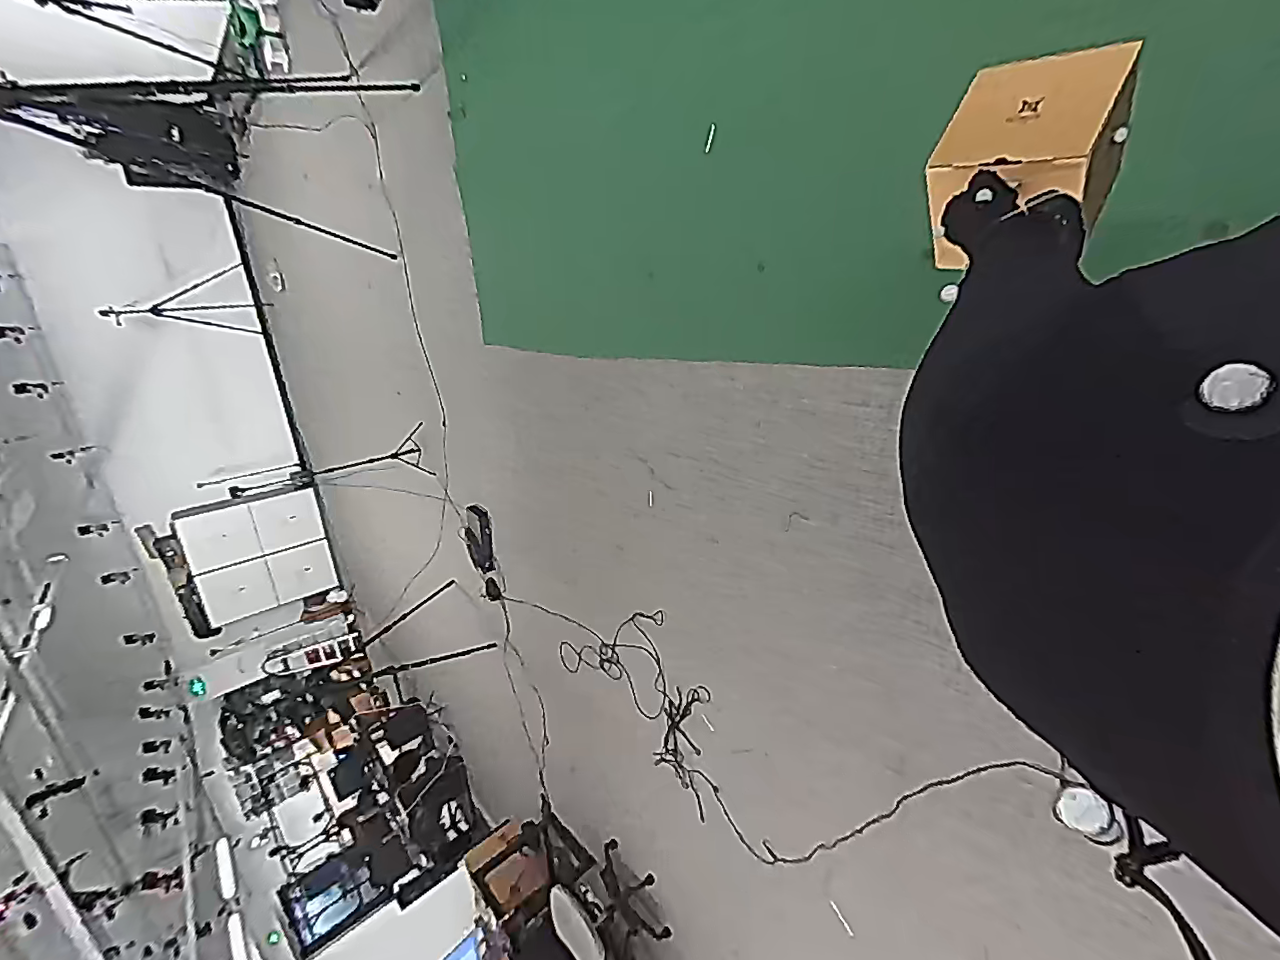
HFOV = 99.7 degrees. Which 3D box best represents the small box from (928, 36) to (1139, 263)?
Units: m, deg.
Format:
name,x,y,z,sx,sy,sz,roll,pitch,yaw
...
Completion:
name,x,y,z,sx,sy,sz,roll,pitch,yaw
small box,0.498,-0.414,0.702,0.168,0.176,0.179,22,79,39
